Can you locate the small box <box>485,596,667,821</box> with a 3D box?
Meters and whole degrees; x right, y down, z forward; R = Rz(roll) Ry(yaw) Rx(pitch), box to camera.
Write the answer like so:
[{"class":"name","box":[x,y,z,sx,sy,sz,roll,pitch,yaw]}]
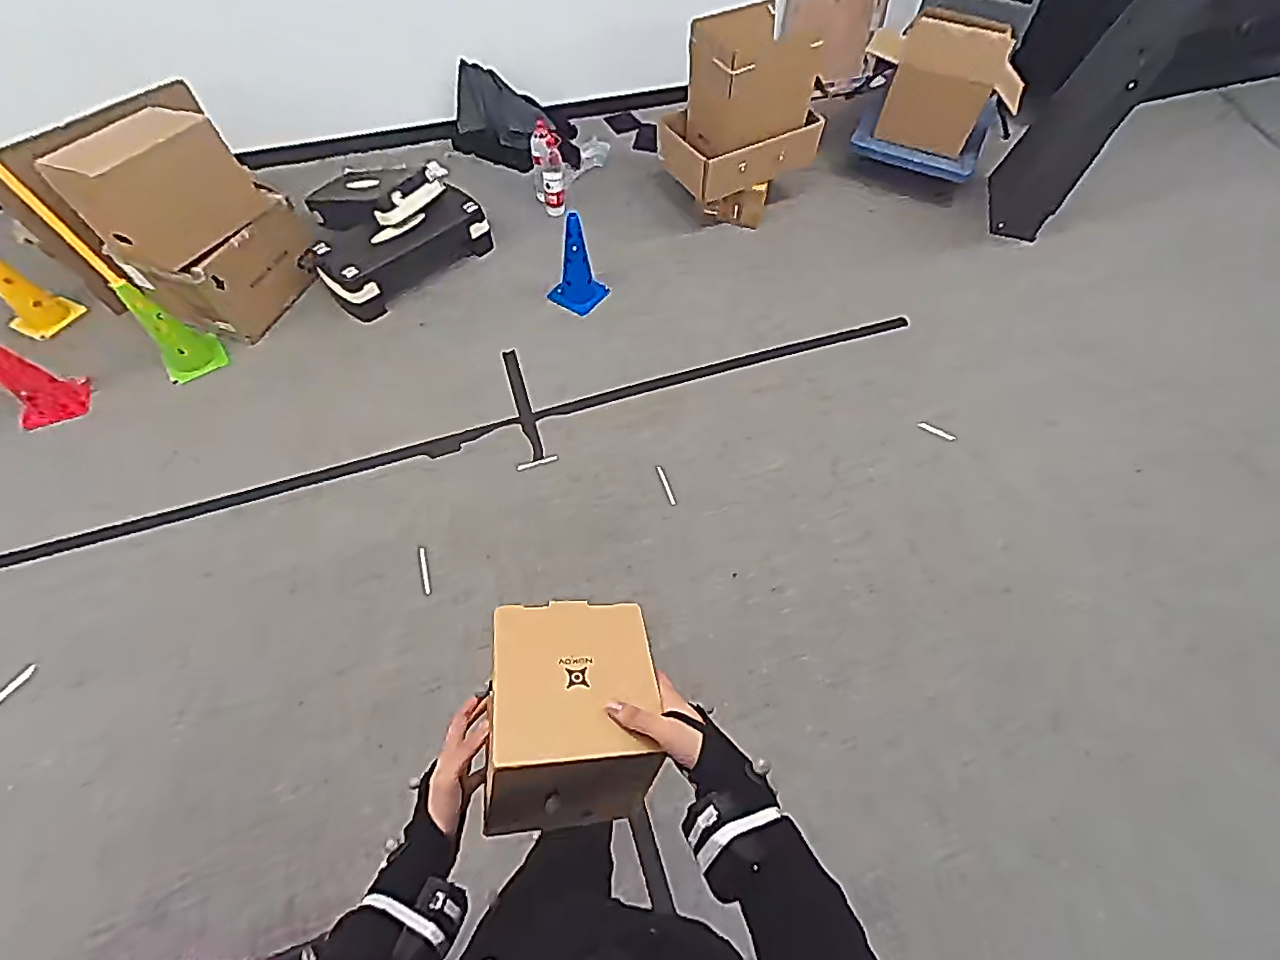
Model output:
[{"class":"small box","box":[-0.081,0.250,0.595,0.168,0.176,0.179,2,39,-16]}]
